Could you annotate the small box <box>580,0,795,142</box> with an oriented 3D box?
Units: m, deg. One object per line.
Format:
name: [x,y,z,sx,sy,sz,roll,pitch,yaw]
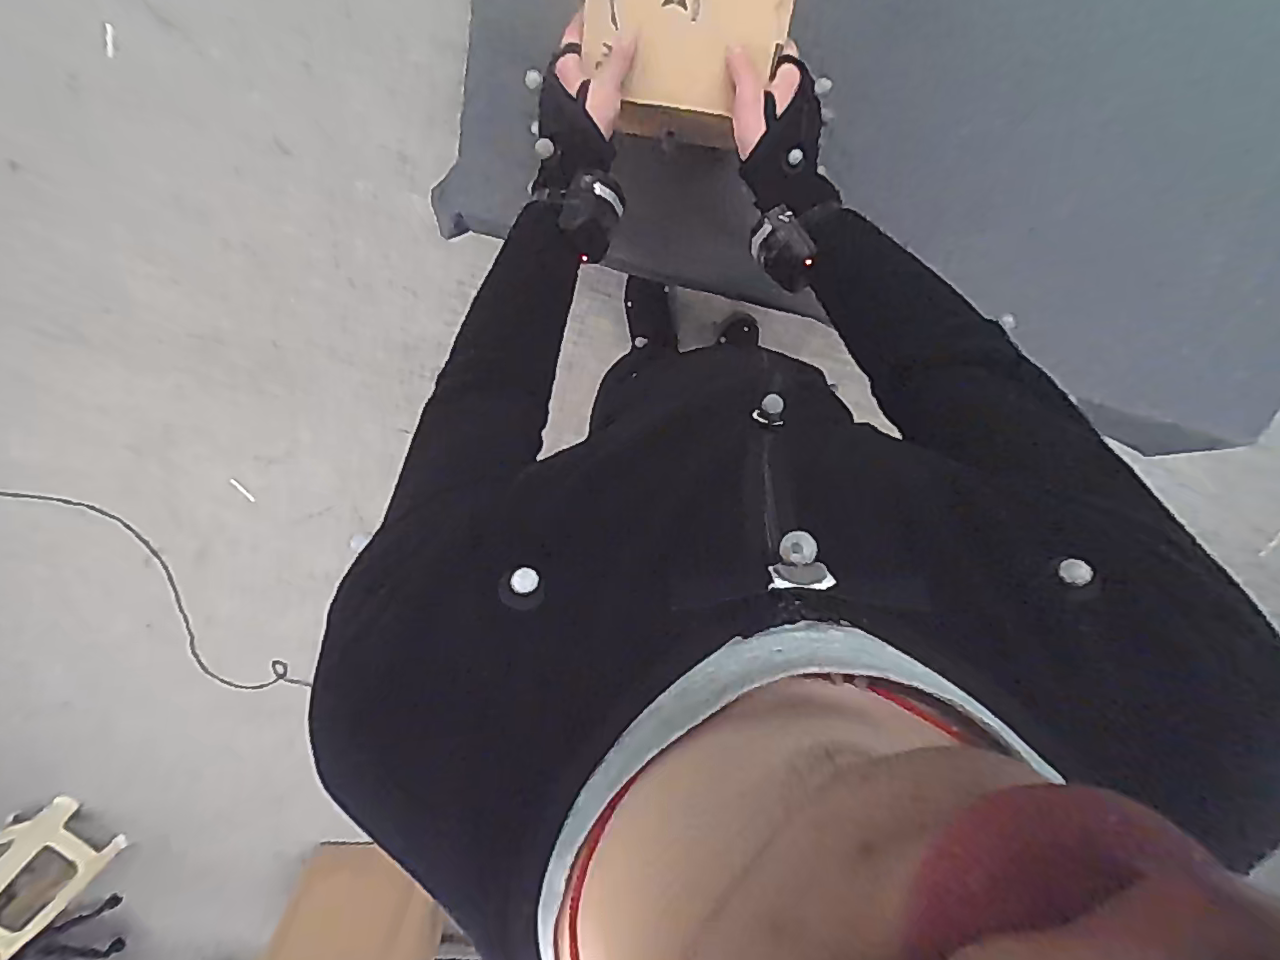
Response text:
small box: [0.044,-0.445,0.526,0.179,0.176,0.168,8,114,-3]
